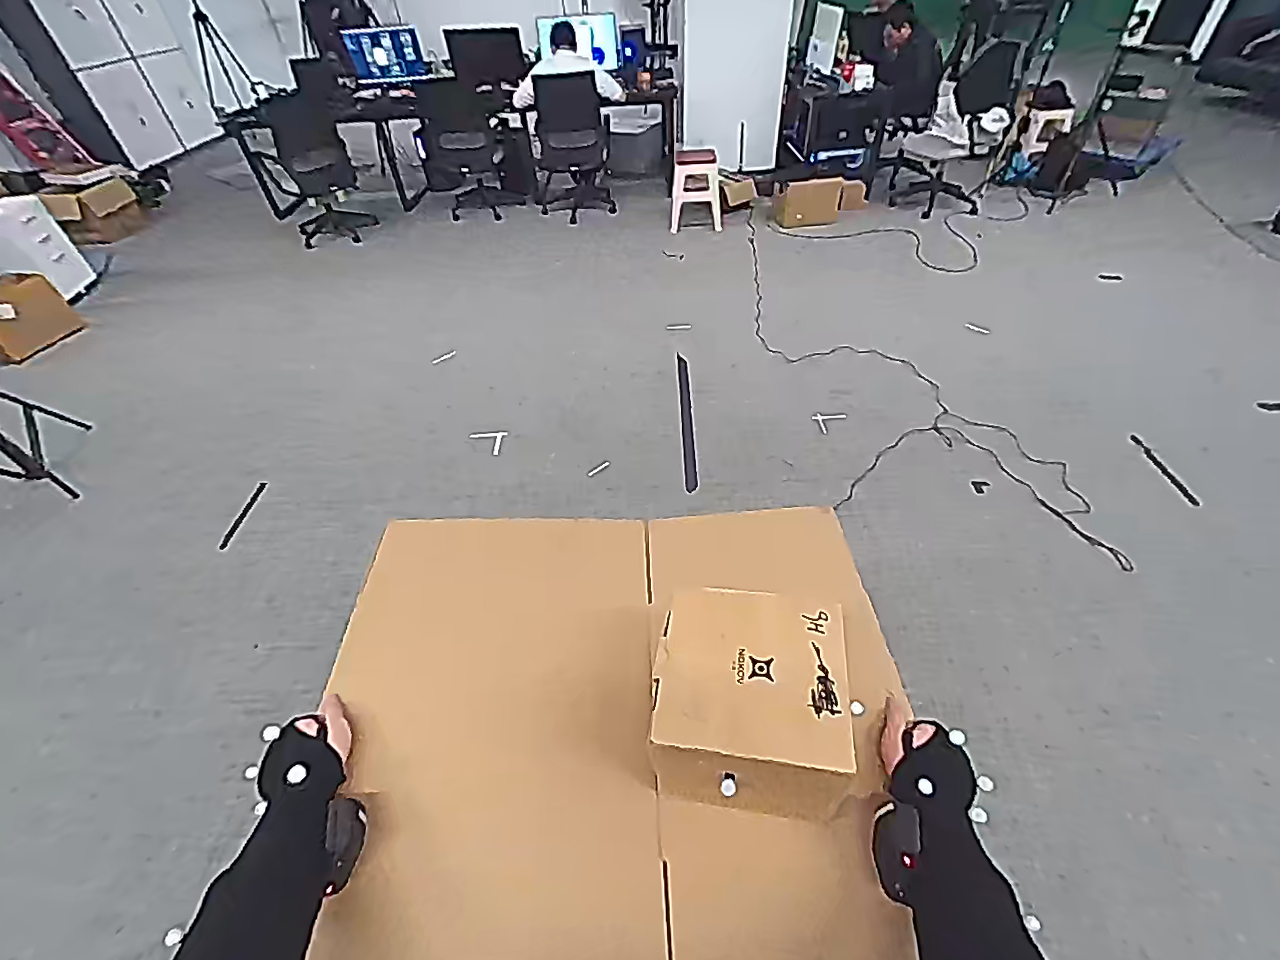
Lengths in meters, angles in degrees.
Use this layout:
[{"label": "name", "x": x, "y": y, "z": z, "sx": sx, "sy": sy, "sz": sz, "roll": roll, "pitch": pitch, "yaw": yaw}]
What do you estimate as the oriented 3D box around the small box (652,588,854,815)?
[{"label": "small box", "x": 0.119, "y": 0.235, "z": 0.577, "sx": 0.179, "sy": 0.176, "sz": 0.168, "roll": 2, "pitch": 46, "yaw": 12}]
